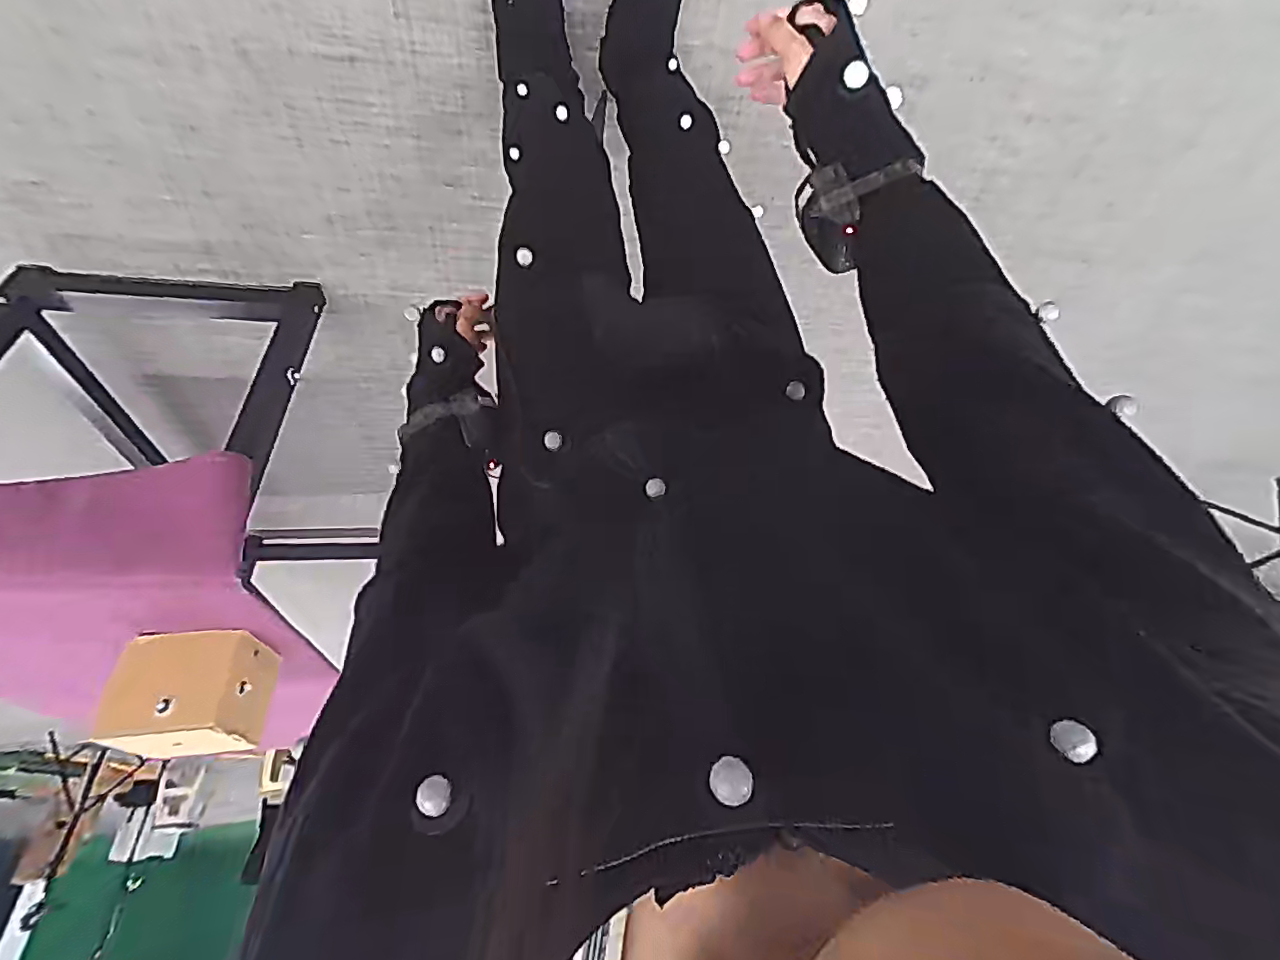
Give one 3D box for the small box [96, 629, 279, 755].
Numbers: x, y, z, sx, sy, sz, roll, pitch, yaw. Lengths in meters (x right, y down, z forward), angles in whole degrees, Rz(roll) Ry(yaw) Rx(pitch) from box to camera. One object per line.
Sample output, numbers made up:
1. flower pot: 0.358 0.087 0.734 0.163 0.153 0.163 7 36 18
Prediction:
1. small box: -0.765 0.369 0.945 0.179 0.176 0.168 -1 145 -9
